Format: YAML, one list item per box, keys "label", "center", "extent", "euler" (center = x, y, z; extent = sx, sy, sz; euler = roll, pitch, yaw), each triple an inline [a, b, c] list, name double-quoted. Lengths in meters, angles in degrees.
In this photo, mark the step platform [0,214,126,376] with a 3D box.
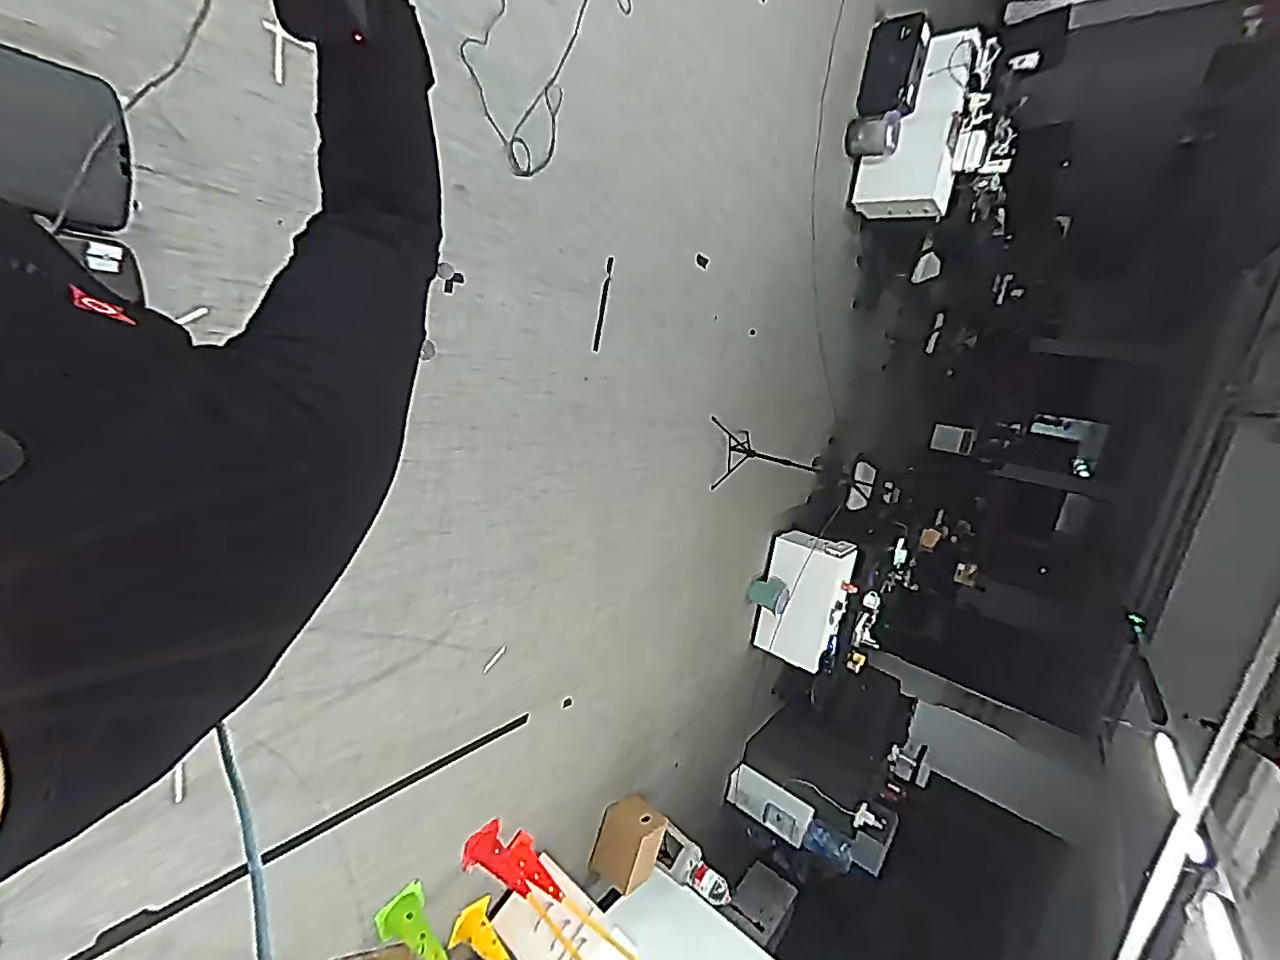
- label: "step platform"
  center: [-1.308, -0.329, 0.881]
  extent: [0.684, 0.204, 0.286]
  euler: [-9, 112, -50]
